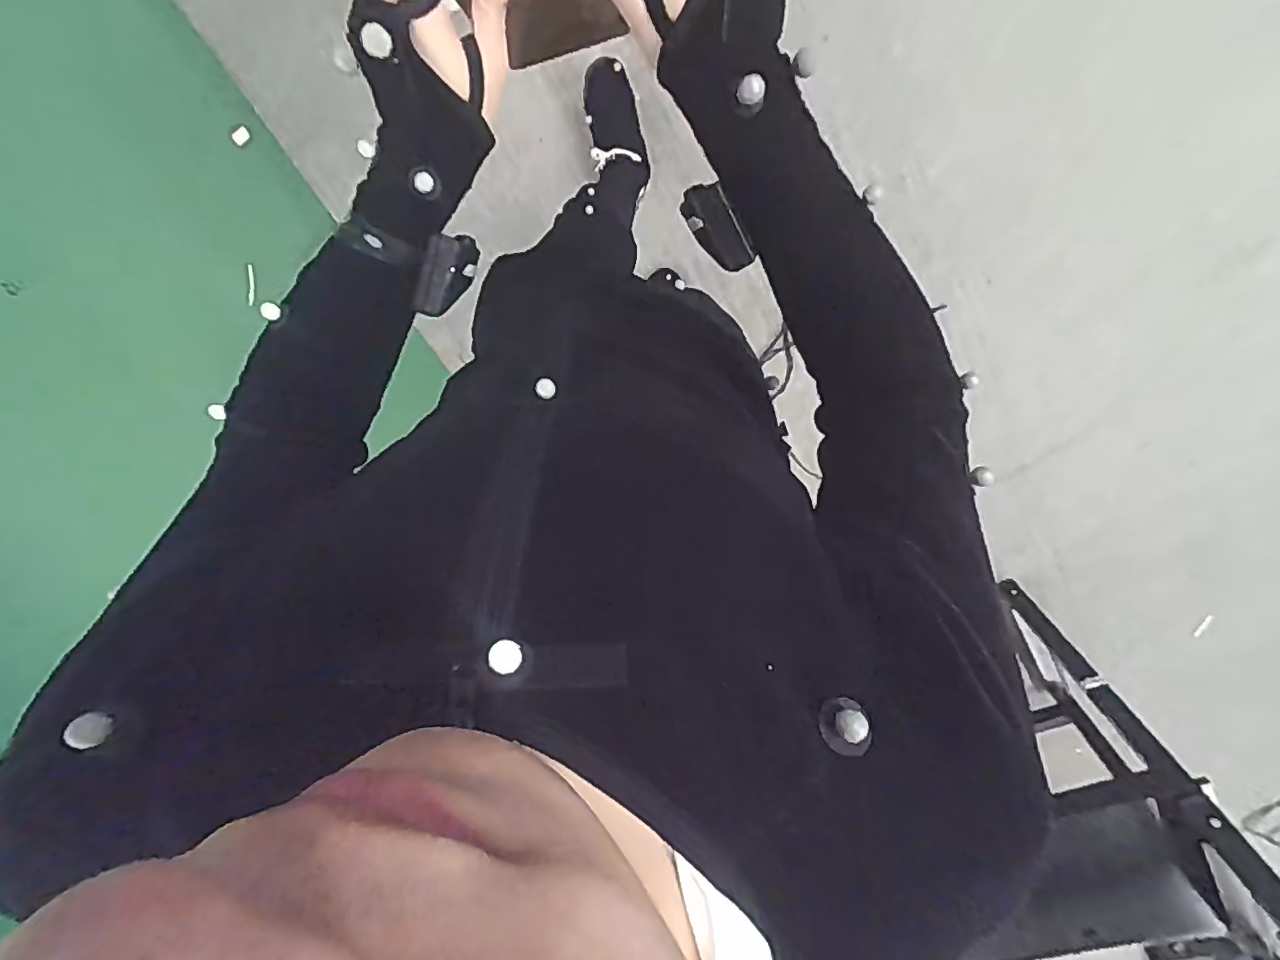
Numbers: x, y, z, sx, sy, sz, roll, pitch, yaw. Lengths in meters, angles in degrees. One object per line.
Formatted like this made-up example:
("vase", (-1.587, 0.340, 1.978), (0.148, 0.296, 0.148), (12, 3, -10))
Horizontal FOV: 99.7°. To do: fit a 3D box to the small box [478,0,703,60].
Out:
("small box", (-0.051, -0.406, 0.320), (0.168, 0.176, 0.179), (-10, 102, 10))
